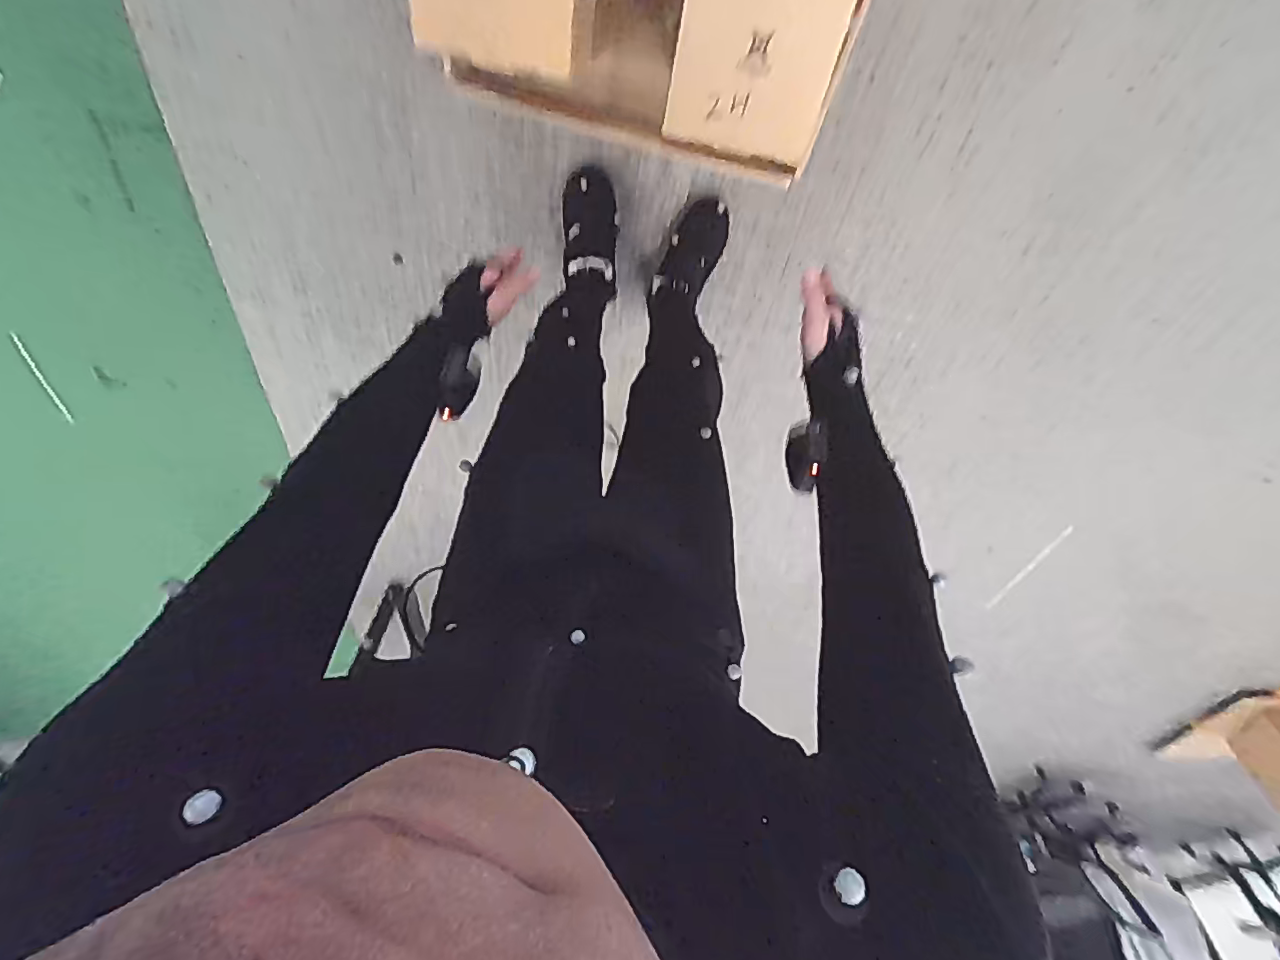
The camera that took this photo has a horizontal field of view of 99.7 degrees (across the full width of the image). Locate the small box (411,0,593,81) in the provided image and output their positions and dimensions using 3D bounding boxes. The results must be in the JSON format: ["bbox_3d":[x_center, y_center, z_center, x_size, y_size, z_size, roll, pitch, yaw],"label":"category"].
[{"bbox_3d":[-0.138,-0.557,0.577,0.168,0.176,0.179,9,131,-4],"label":"small box"}]

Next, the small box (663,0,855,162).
[{"bbox_3d":[0.124,-0.489,0.611,0.168,0.176,0.179,10,131,-3],"label":"small box"}]

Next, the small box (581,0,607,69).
[{"bbox_3d":[-0.130,-0.661,0.700,0.168,0.176,0.179,11,130,-4],"label":"small box"}]
